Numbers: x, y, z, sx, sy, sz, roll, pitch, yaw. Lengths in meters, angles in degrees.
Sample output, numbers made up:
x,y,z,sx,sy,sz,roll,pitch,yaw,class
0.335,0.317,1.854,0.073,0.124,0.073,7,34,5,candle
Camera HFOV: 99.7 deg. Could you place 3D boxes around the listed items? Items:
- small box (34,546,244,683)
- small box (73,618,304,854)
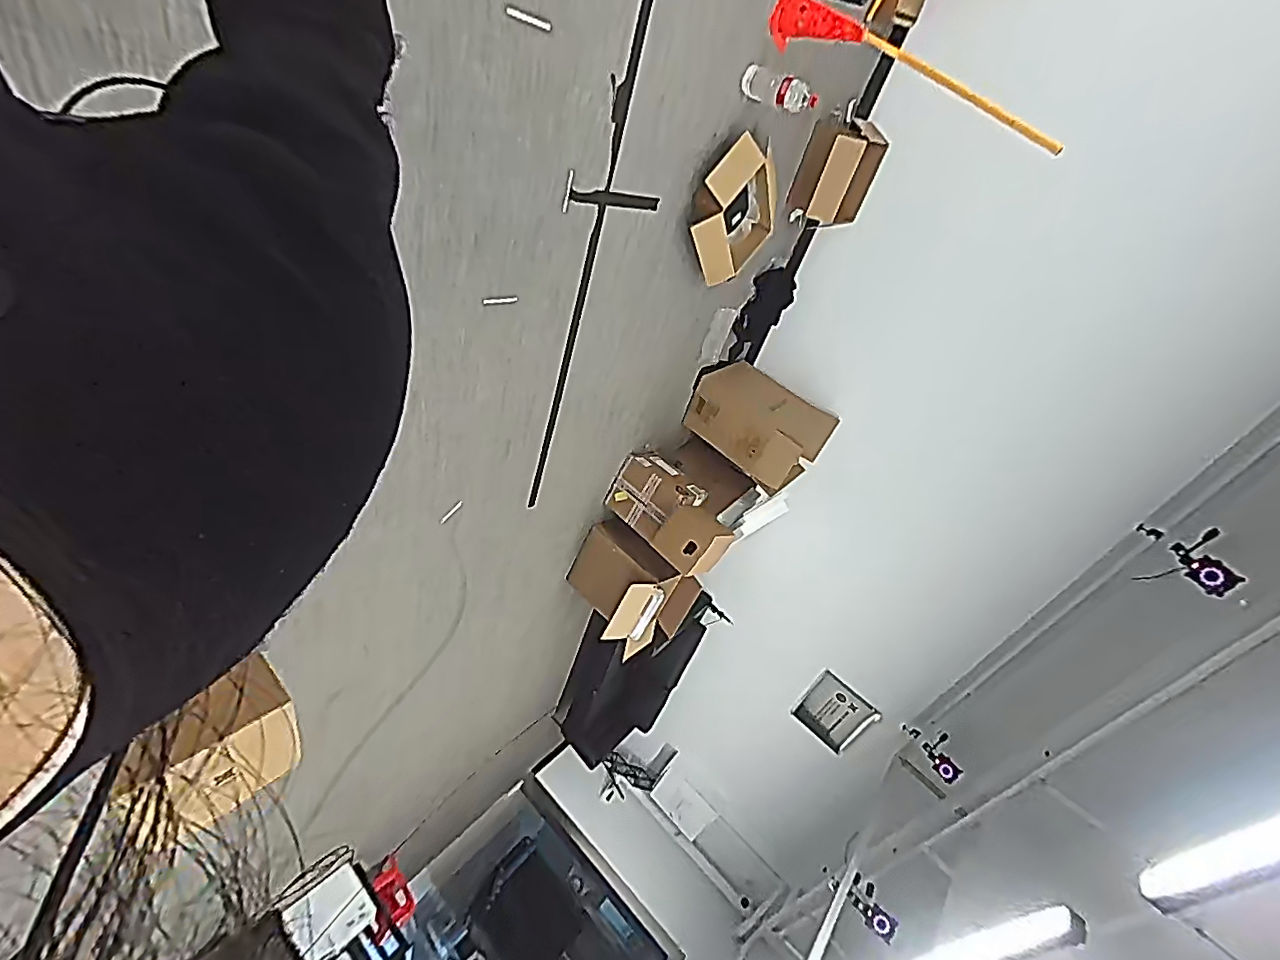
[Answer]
x,y,z,sx,sy,sz,roll,pitch,yaw,class
-0.669,0.214,0.740,0.168,0.176,0.179,-27,148,-46,small box
-0.553,0.310,0.679,0.168,0.176,0.179,-28,148,-46,small box
